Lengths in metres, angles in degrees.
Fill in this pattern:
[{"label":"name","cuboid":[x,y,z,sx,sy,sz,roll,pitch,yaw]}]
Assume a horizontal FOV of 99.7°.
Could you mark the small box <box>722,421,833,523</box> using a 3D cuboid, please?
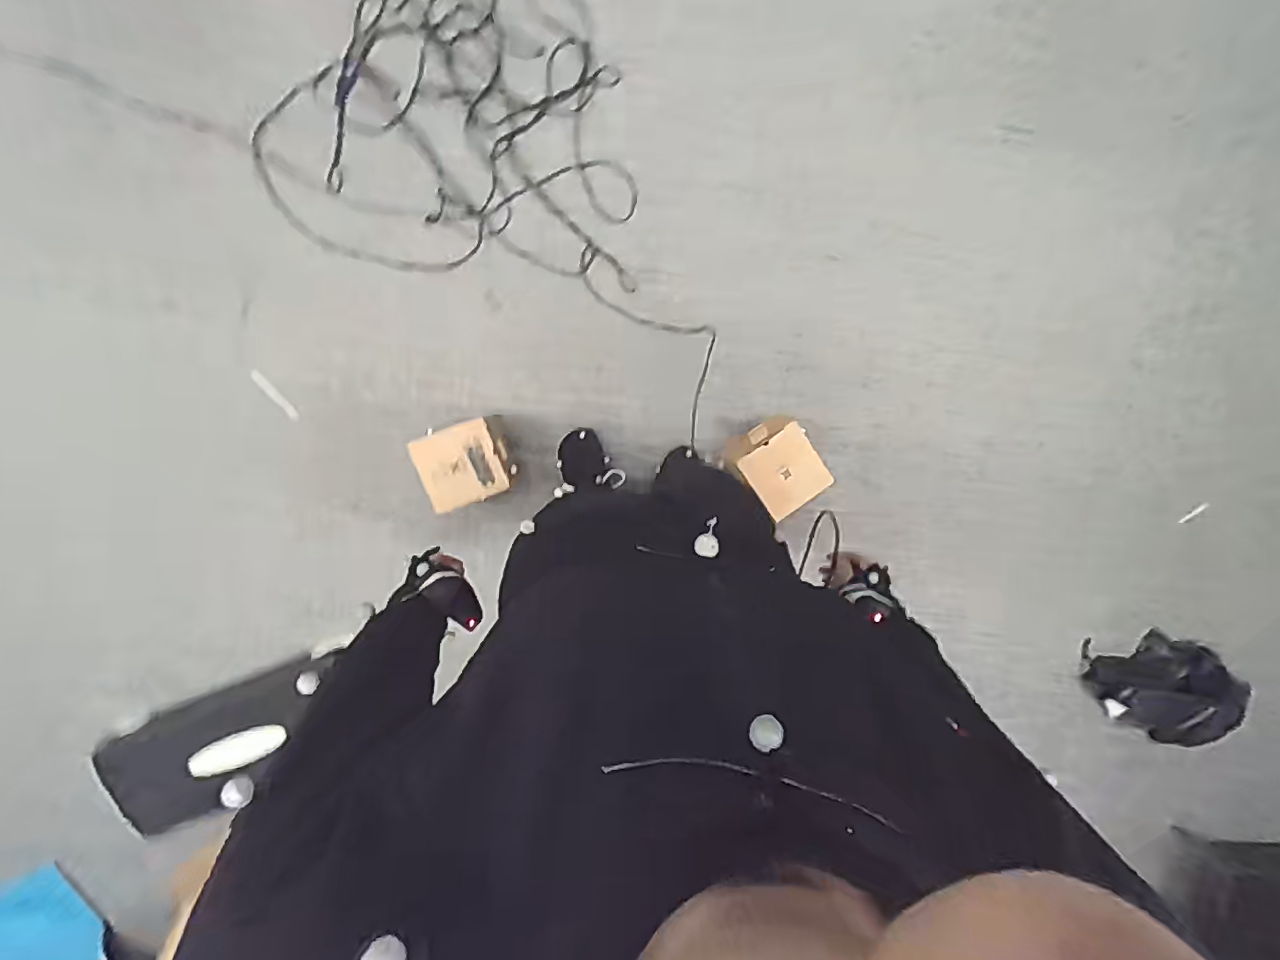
[{"label":"small box","cuboid":[0.323,-0.028,1.297,0.168,0.176,0.179,-37,100,2]}]
